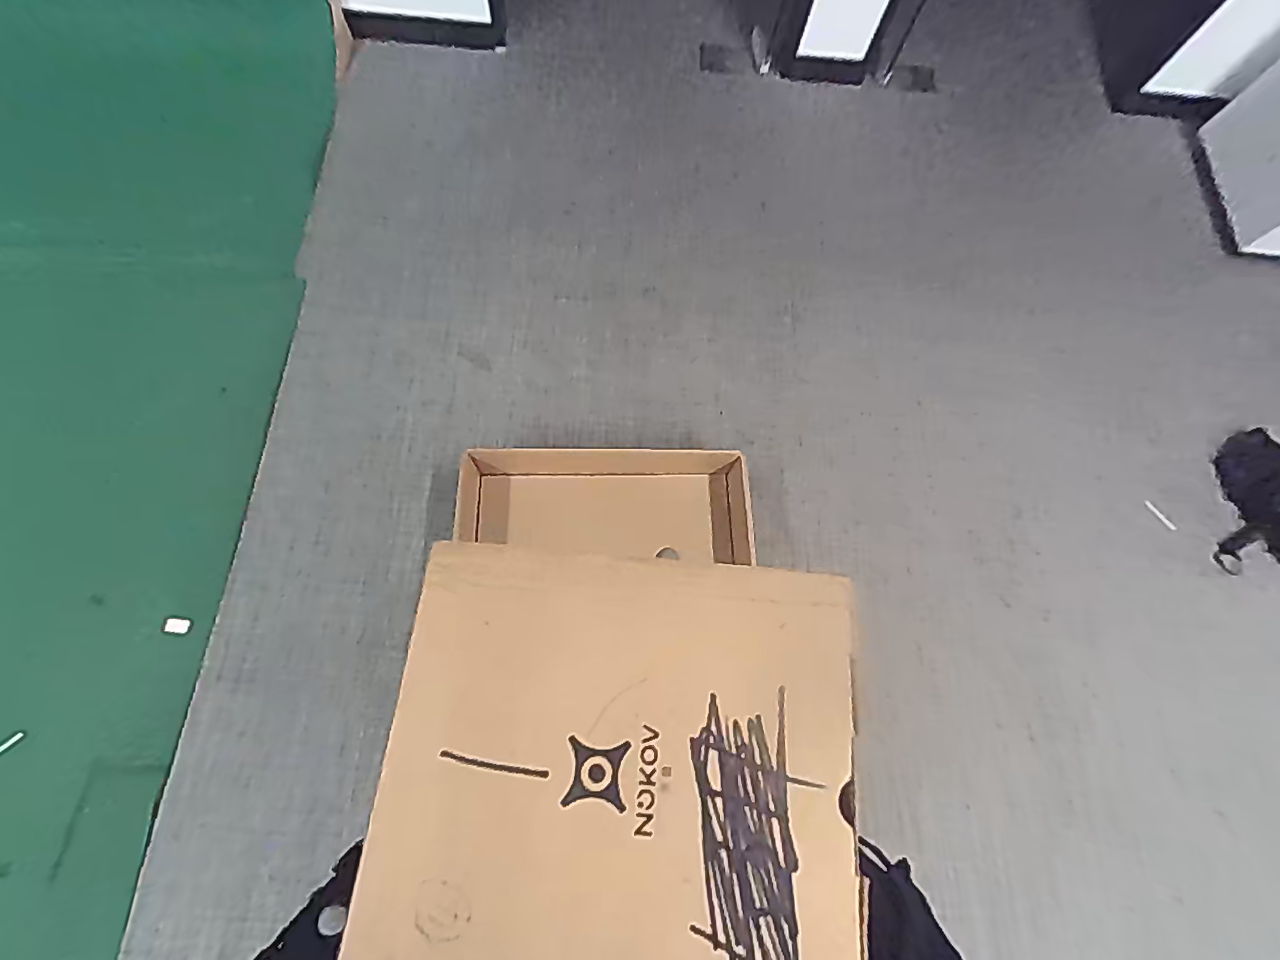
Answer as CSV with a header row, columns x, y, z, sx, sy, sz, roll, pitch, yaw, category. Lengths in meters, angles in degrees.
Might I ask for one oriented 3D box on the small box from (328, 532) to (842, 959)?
x,y,z,sx,sy,sz,roll,pitch,yaw,category
-0.012,0.134,0.278,0.179,0.176,0.168,5,70,3,small box
